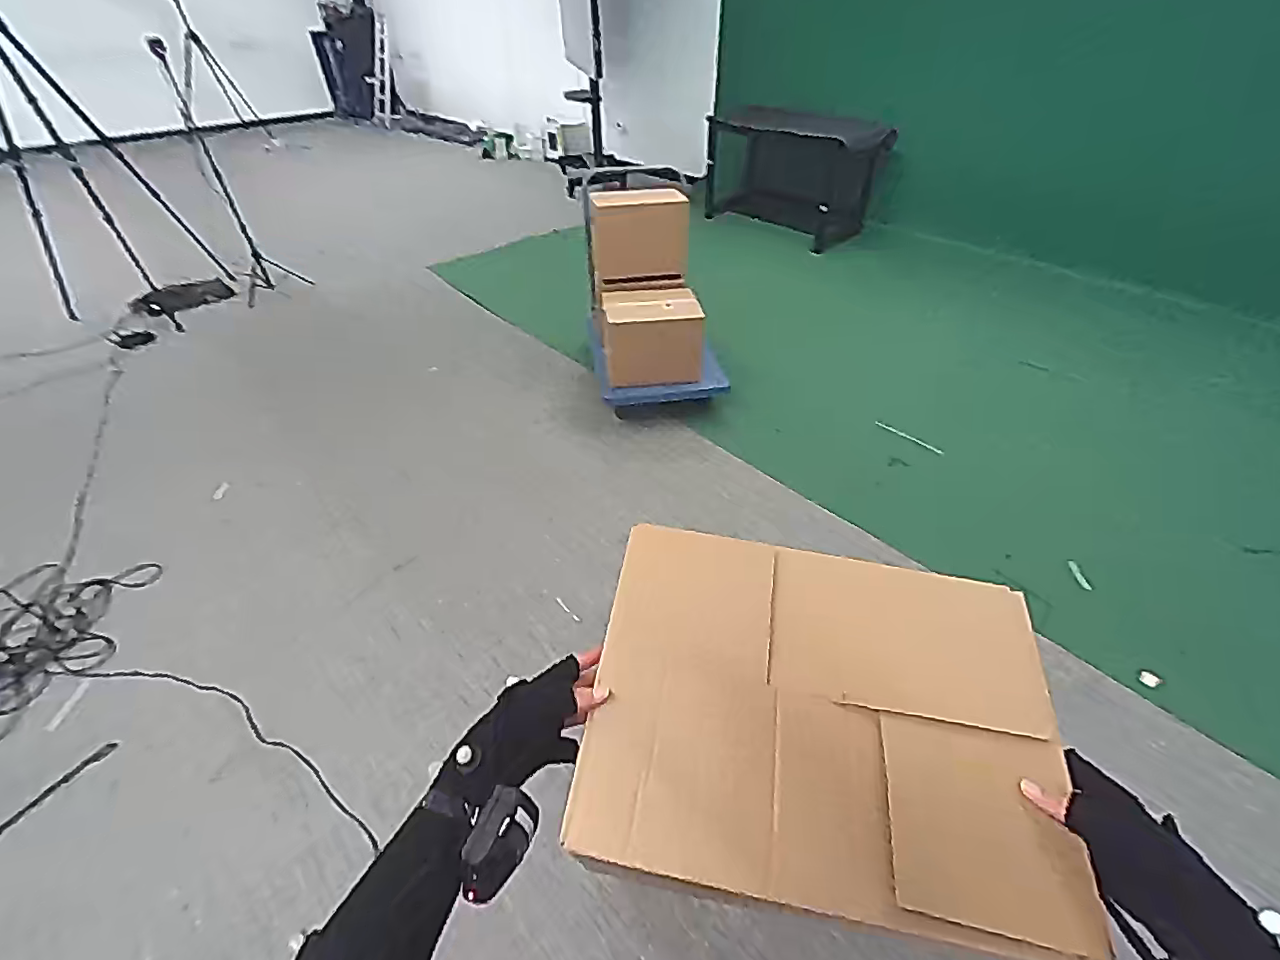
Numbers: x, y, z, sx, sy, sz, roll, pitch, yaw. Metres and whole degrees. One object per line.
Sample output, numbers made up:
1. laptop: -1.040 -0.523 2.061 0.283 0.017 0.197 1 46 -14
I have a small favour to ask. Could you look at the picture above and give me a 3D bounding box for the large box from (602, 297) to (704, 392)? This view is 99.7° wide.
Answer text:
1. large box: 0.048 -0.607 2.411 0.408 0.320 0.320 -4 40 -5
